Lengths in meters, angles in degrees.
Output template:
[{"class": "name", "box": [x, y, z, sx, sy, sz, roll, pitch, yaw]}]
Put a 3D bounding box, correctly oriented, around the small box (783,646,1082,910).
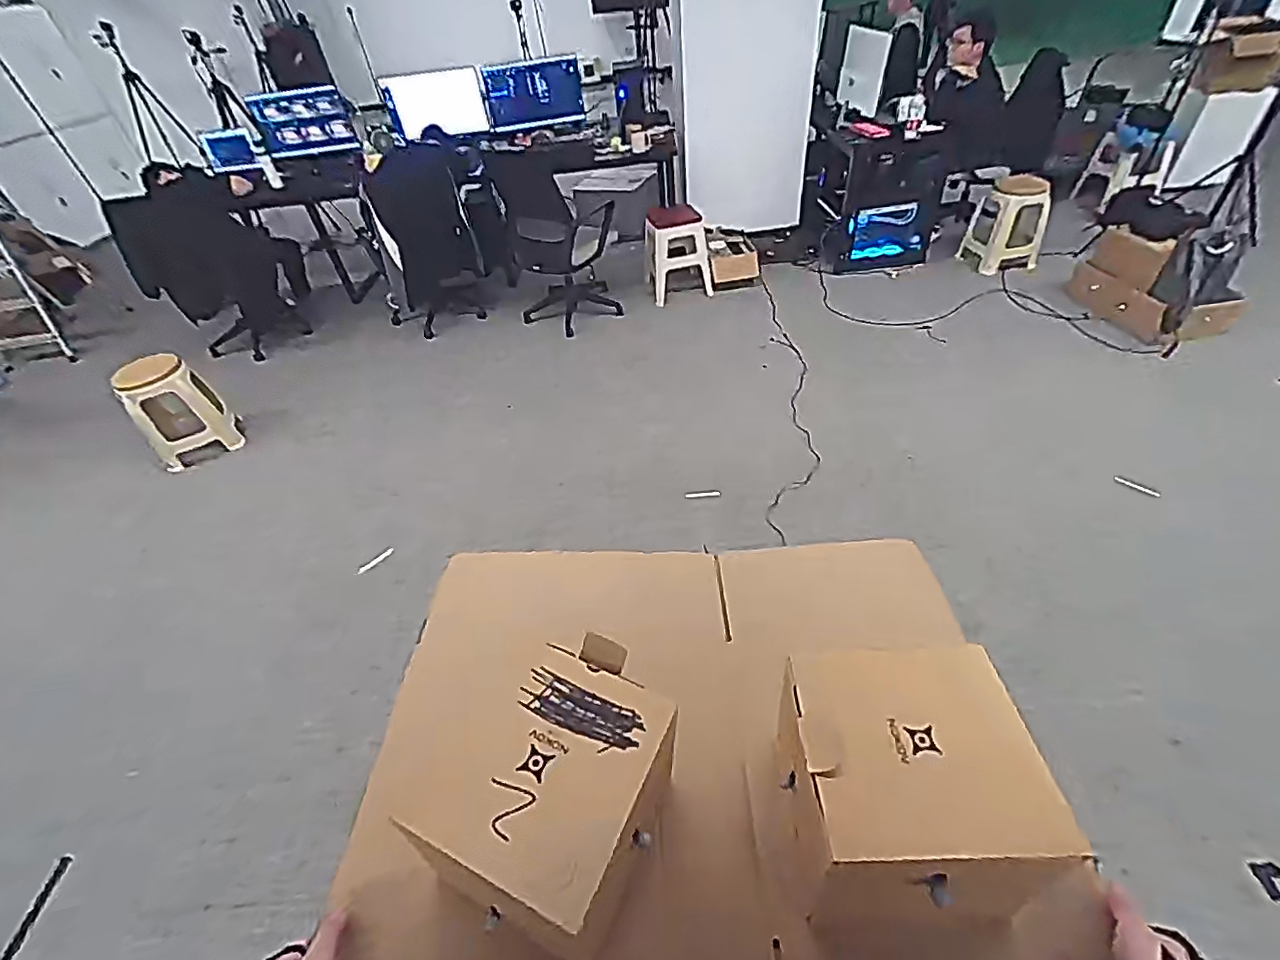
[{"class": "small box", "box": [0.237, 0.273, 0.497, 0.179, 0.176, 0.168, -5, 40, 5]}]
